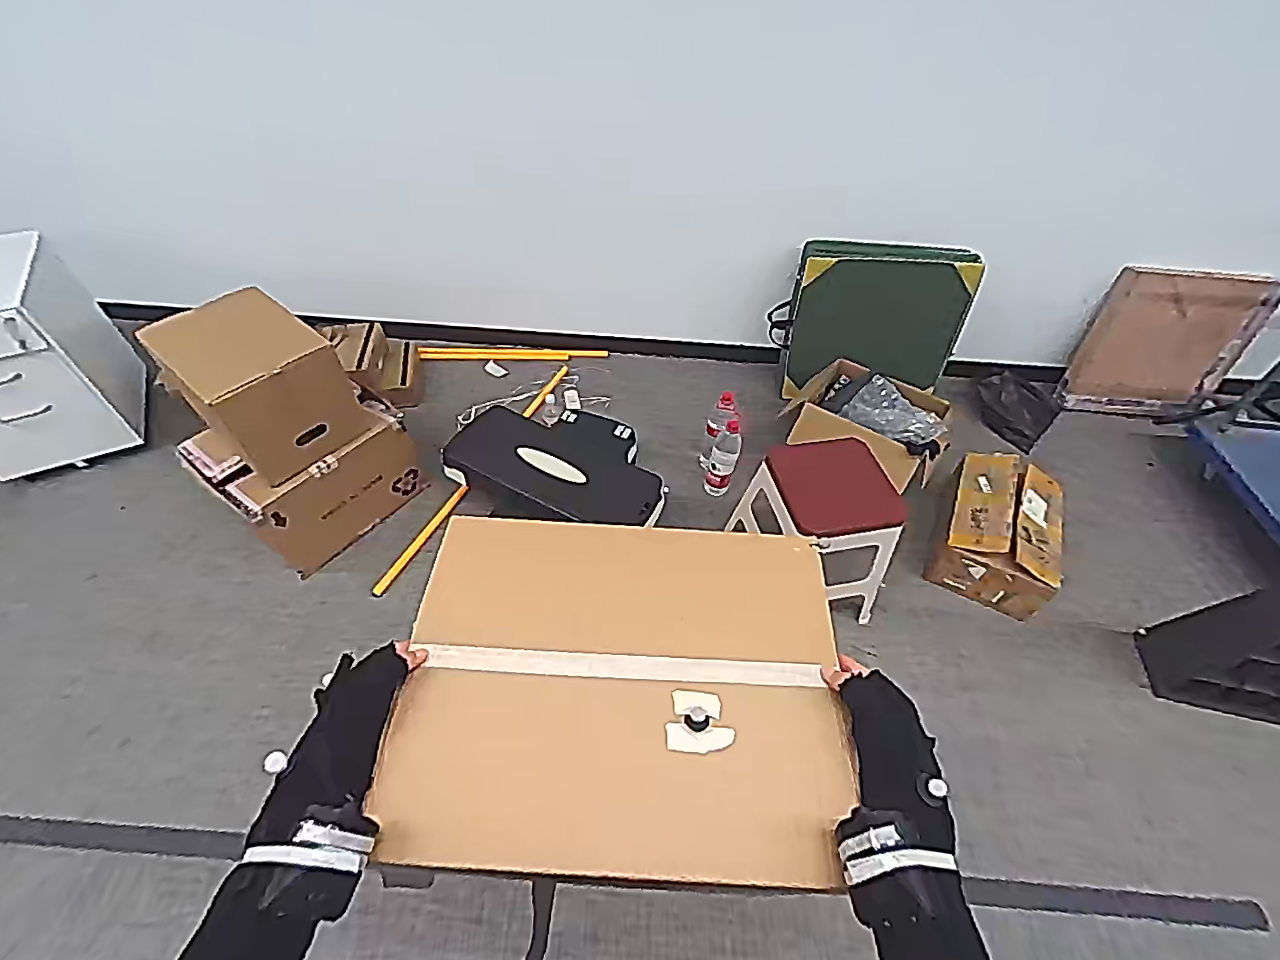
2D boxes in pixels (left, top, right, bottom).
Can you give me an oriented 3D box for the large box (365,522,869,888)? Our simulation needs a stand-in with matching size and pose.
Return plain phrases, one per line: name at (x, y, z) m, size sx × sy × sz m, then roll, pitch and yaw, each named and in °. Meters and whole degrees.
large box at (-0.020, 0.269, 0.626) m, size 0.408 × 0.320 × 0.320 m, roll 4°, pitch 52°, yaw 0°
